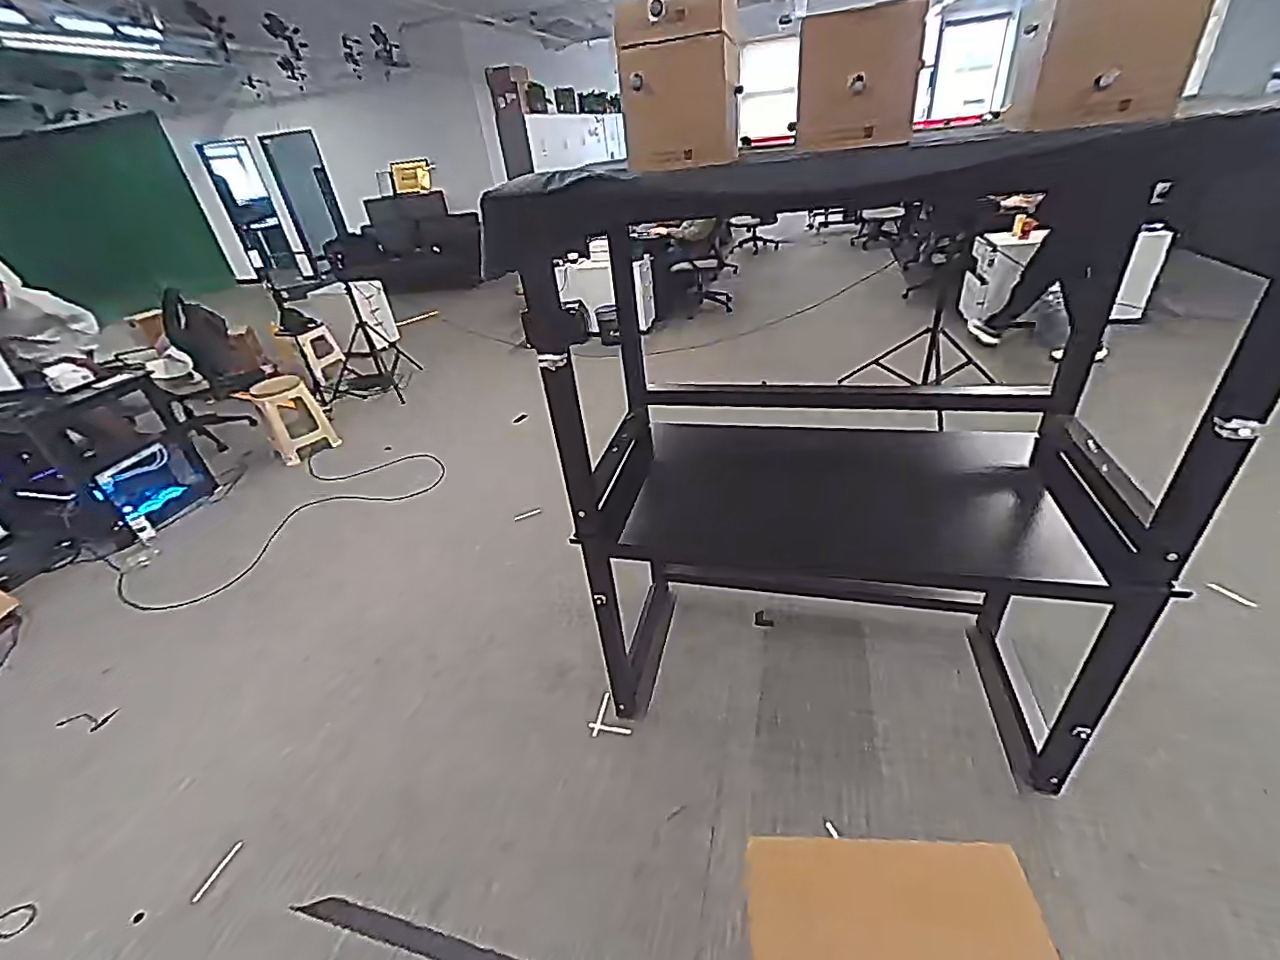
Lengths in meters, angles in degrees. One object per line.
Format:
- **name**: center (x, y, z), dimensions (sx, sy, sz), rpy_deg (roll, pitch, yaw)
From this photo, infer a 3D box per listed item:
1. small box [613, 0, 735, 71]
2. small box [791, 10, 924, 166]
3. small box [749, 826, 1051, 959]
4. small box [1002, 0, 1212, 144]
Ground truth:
- **small box**: center (0.054, -0.744, 0.826), dimensions (0.168, 0.176, 0.179), rpy_deg (2, 33, 16)
- **small box**: center (0.326, -0.592, 0.838), dimensions (0.168, 0.176, 0.179), rpy_deg (4, 32, 15)
- **small box**: center (0.156, 0.350, 0.338), dimensions (0.168, 0.176, 0.179), rpy_deg (-4, 37, 9)
- **small box**: center (0.627, -0.571, 0.750), dimensions (0.168, 0.176, 0.179), rpy_deg (6, 34, 20)
